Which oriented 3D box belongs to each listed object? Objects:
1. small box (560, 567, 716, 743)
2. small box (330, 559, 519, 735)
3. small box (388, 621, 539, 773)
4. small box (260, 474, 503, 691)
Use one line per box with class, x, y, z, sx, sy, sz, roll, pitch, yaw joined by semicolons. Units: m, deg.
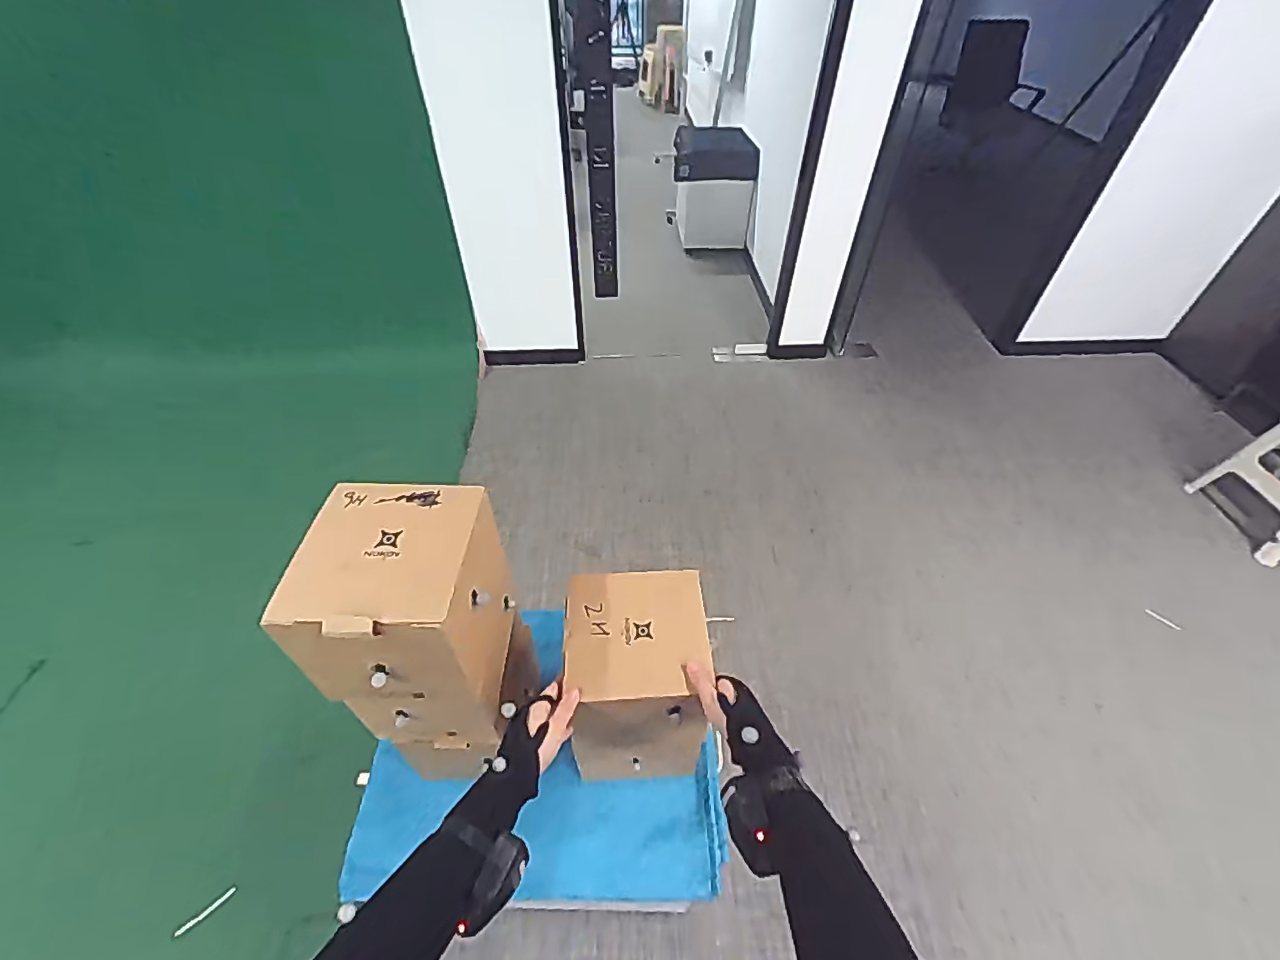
small box;-0.006;0.230;0.706;0.179;0.176;0.168;-2;46;-2
small box;-0.264;0.221;0.716;0.168;0.176;0.179;2;45;0
small box;-0.255;0.334;0.832;0.168;0.176;0.179;2;45;-1
small box;-0.255;0.114;0.591;0.168;0.176;0.179;3;45;0
